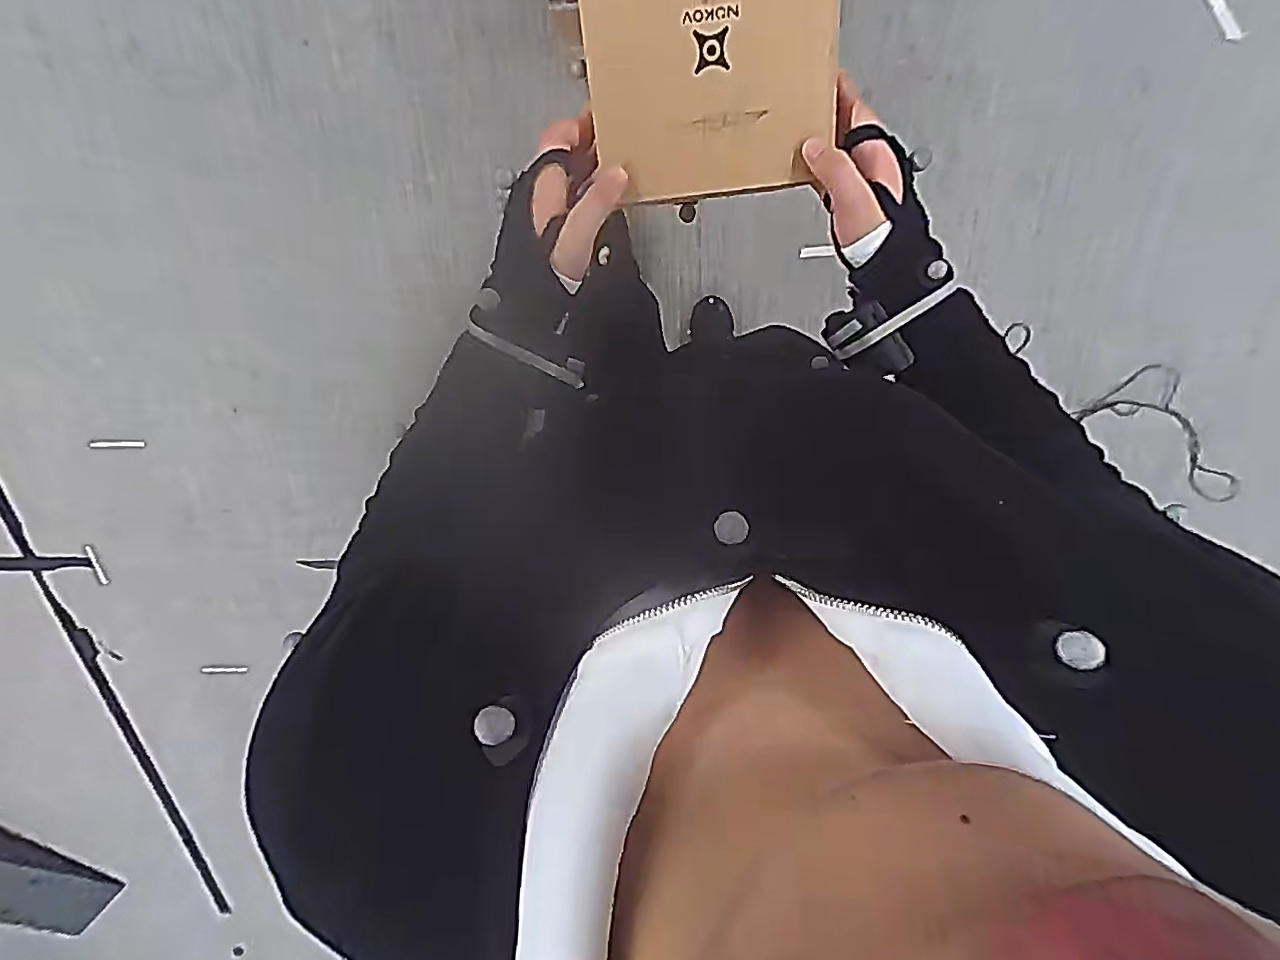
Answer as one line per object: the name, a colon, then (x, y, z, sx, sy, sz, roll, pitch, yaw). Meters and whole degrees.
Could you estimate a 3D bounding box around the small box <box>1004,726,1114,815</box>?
small box: (1.241, 0.866, 1.621, 0.179, 0.176, 0.168, 3, 114, -1)

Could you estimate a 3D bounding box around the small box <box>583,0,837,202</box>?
small box: (0.046, -0.327, 0.425, 0.168, 0.176, 0.179, -6, 116, 4)

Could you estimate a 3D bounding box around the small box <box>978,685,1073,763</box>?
small box: (1.253, 0.807, 1.775, 0.168, 0.176, 0.179, 6, 112, -2)
